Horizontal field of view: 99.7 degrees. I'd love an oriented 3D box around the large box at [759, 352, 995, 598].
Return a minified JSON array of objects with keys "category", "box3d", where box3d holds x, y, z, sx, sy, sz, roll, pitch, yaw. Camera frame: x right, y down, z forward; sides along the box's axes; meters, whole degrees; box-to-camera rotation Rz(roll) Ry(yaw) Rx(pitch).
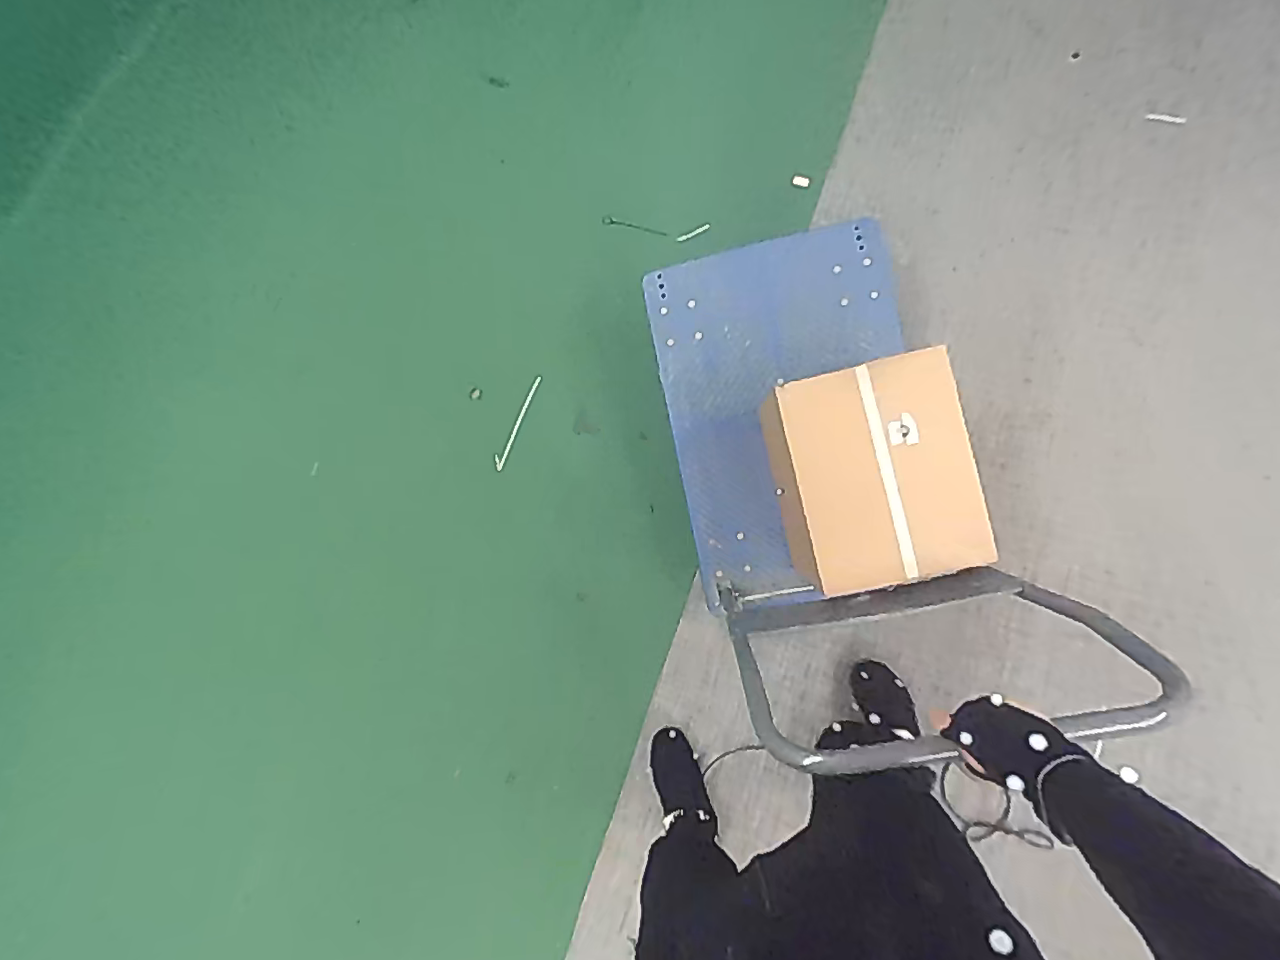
[{"category":"large box","box3d":[0.463,-0.004,1.145,0.320,0.320,0.408,-14,87,5]}]
